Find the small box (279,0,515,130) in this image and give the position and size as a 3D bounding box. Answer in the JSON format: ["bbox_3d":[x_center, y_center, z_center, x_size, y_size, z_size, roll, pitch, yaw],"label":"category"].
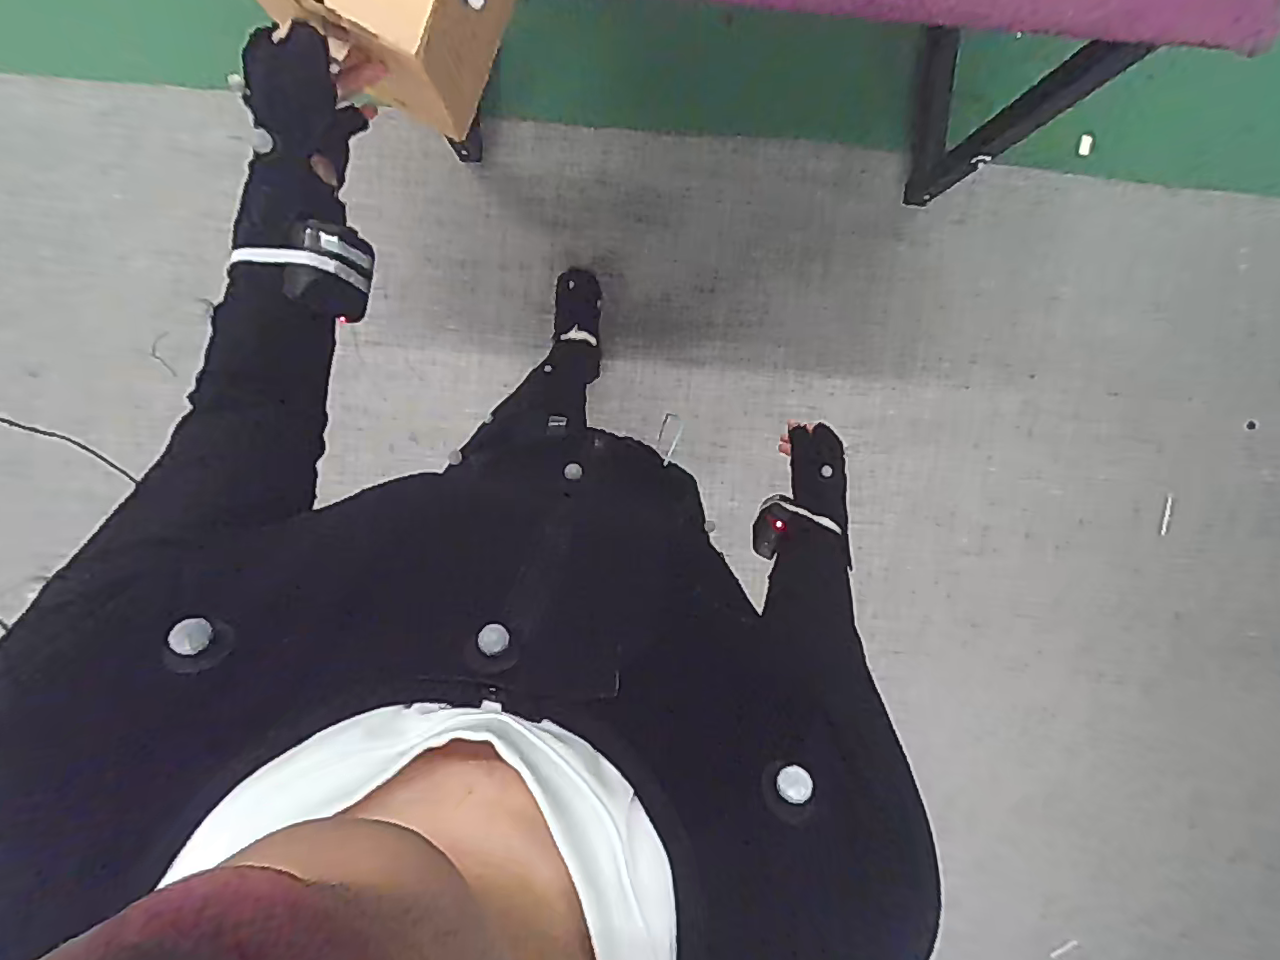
[{"bbox_3d":[-0.219,-0.468,0.488,0.168,0.176,0.179,23,100,-10],"label":"small box"}]
